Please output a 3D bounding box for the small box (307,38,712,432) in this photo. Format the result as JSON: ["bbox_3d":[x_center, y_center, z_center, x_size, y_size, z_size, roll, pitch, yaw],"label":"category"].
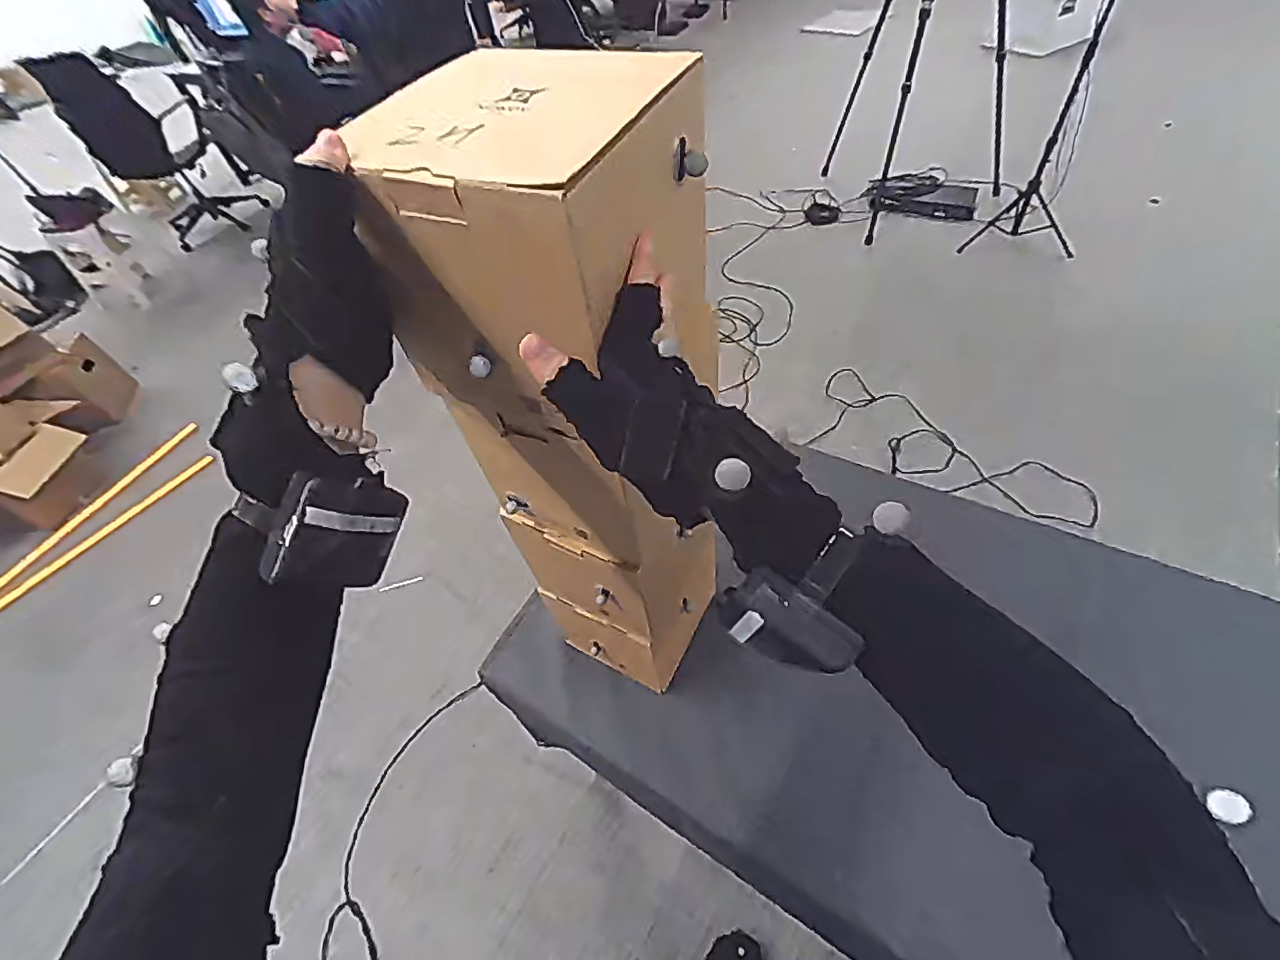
[{"bbox_3d":[-0.060,-0.163,0.363,0.168,0.176,0.179,17,57,19],"label":"small box"}]

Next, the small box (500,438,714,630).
[{"bbox_3d":[-0.023,0.041,0.618,0.168,0.176,0.179,22,58,22],"label":"small box"}]

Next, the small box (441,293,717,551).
[{"bbox_3d":[-0.037,-0.064,0.493,0.168,0.176,0.179,21,58,21],"label":"small box"}]

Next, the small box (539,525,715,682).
[{"bbox_3d":[-0.008,0.143,0.745,0.168,0.176,0.179,21,58,22],"label":"small box"}]
